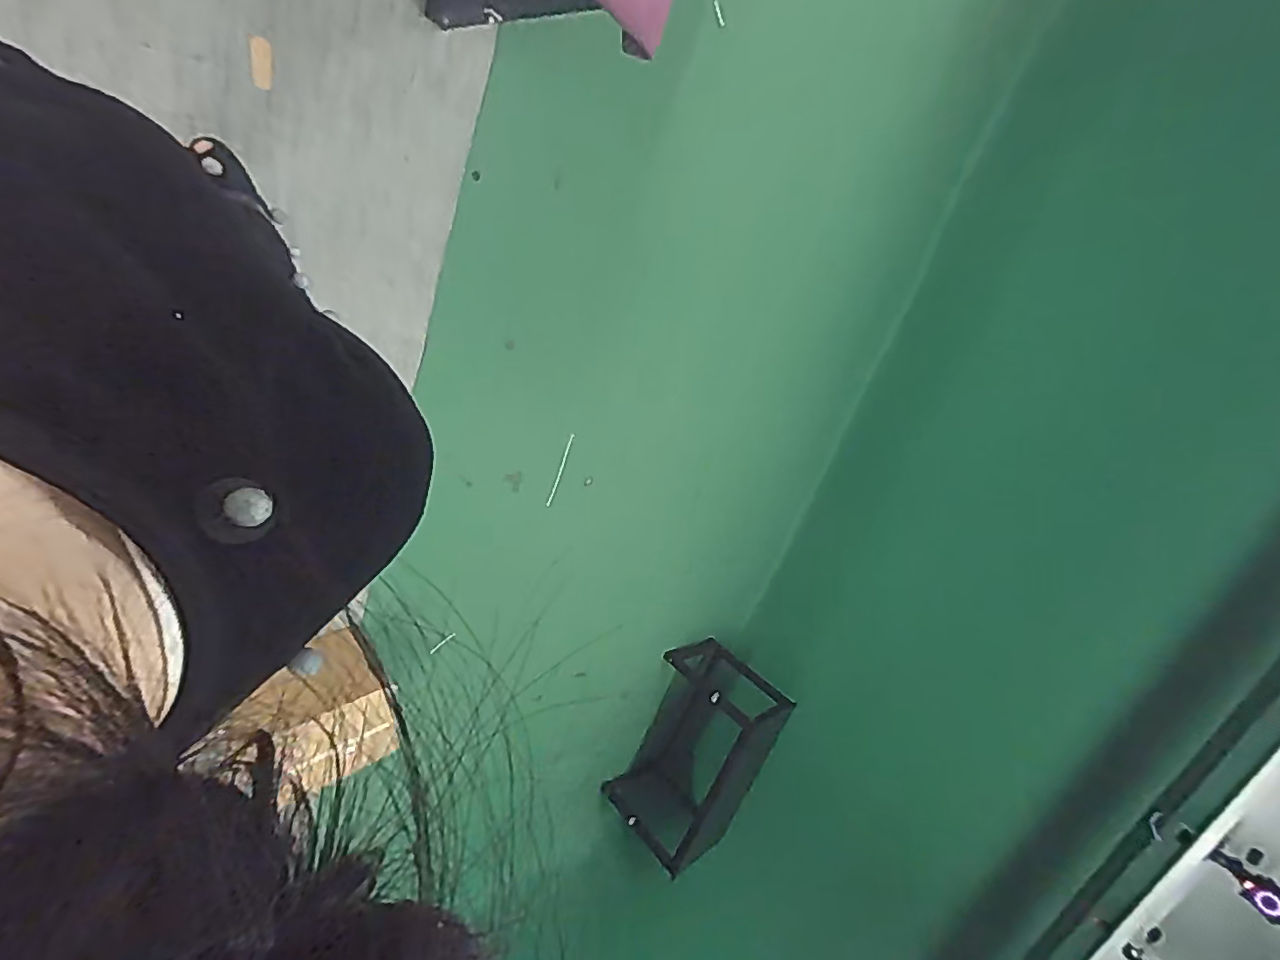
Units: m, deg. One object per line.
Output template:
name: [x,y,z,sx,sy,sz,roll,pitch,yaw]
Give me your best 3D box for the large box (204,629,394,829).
large box: [-1.021,0.730,1.647,0.408,0.320,0.320,-17,128,-43]
